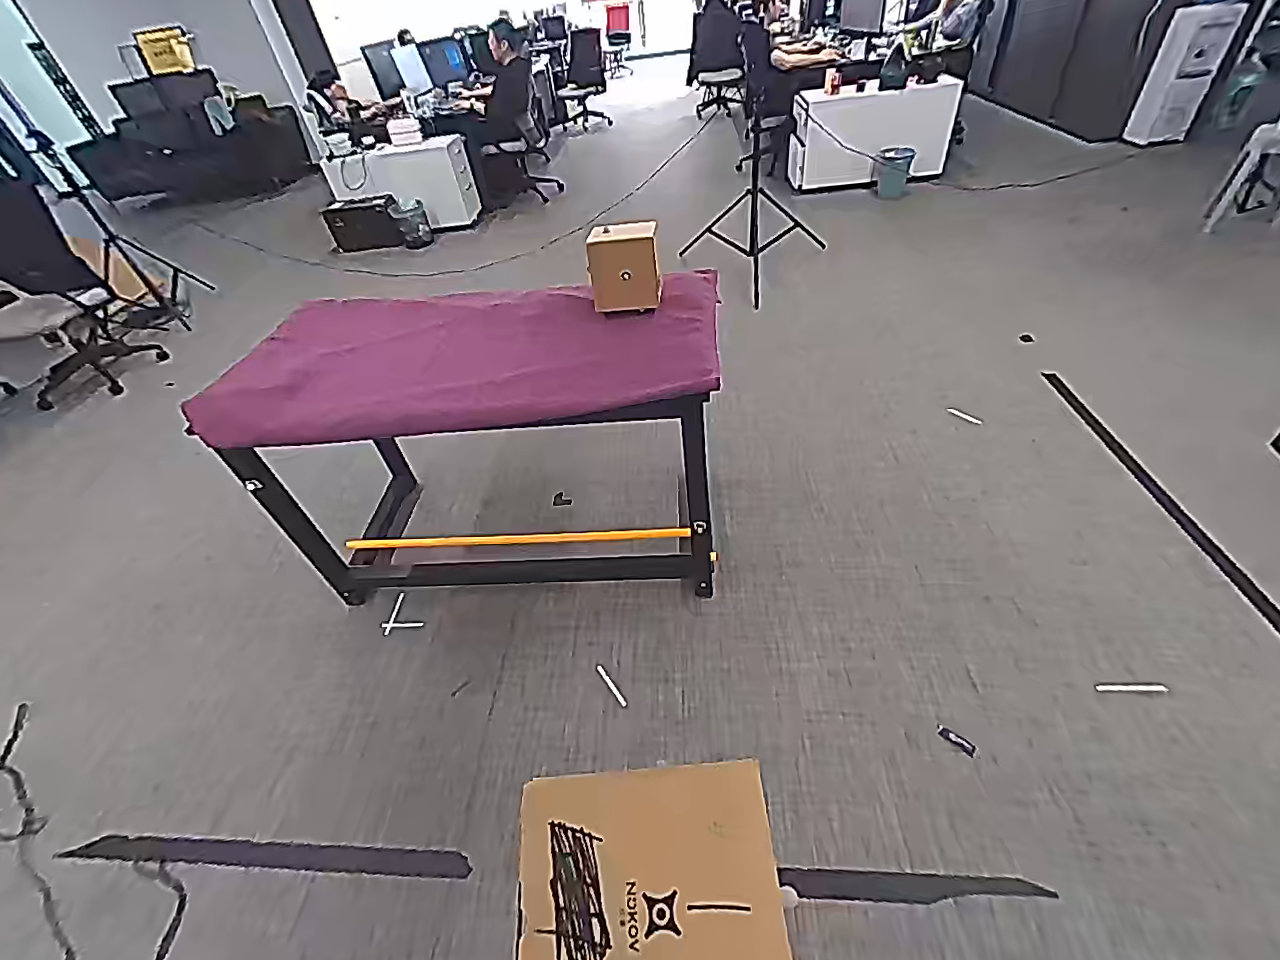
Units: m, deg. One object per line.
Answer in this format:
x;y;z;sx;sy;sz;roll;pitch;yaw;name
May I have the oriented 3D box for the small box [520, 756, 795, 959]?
0.019;0.322;0.417;0.179;0.176;0.168;-8;55;4;small box
